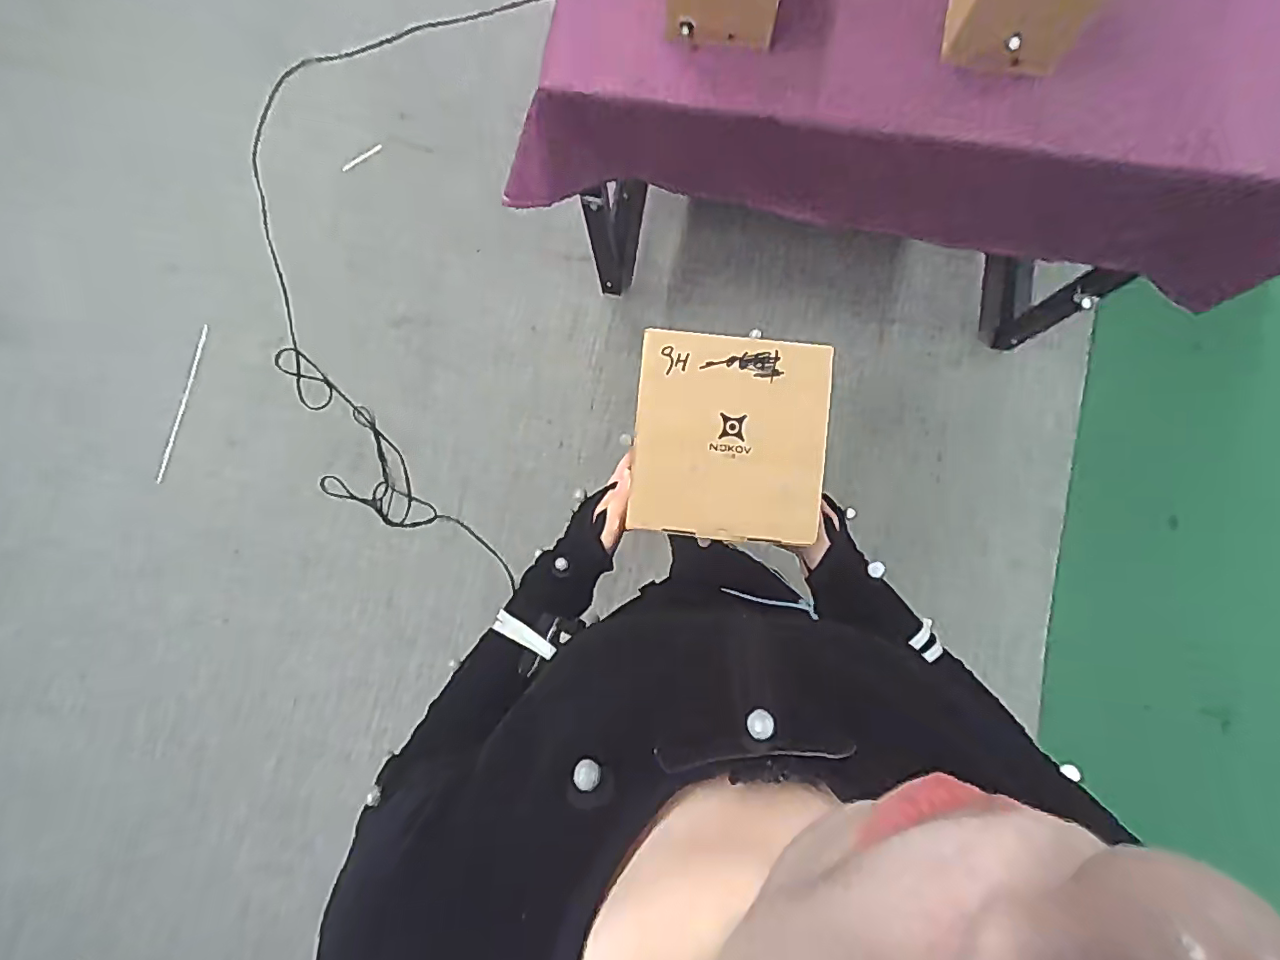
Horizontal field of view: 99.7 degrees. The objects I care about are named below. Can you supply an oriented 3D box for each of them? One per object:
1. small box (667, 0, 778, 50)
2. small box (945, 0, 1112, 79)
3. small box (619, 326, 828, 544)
[{"bbox_3d":[0.131,-0.778,0.789,0.168,0.176,0.179,8,82,3],"label":"small box"},{"bbox_3d":[0.560,-0.723,0.764,0.168,0.176,0.179,12,84,4],"label":"small box"},{"bbox_3d":[0.072,-0.039,0.544,0.168,0.176,0.179,6,90,0],"label":"small box"}]
